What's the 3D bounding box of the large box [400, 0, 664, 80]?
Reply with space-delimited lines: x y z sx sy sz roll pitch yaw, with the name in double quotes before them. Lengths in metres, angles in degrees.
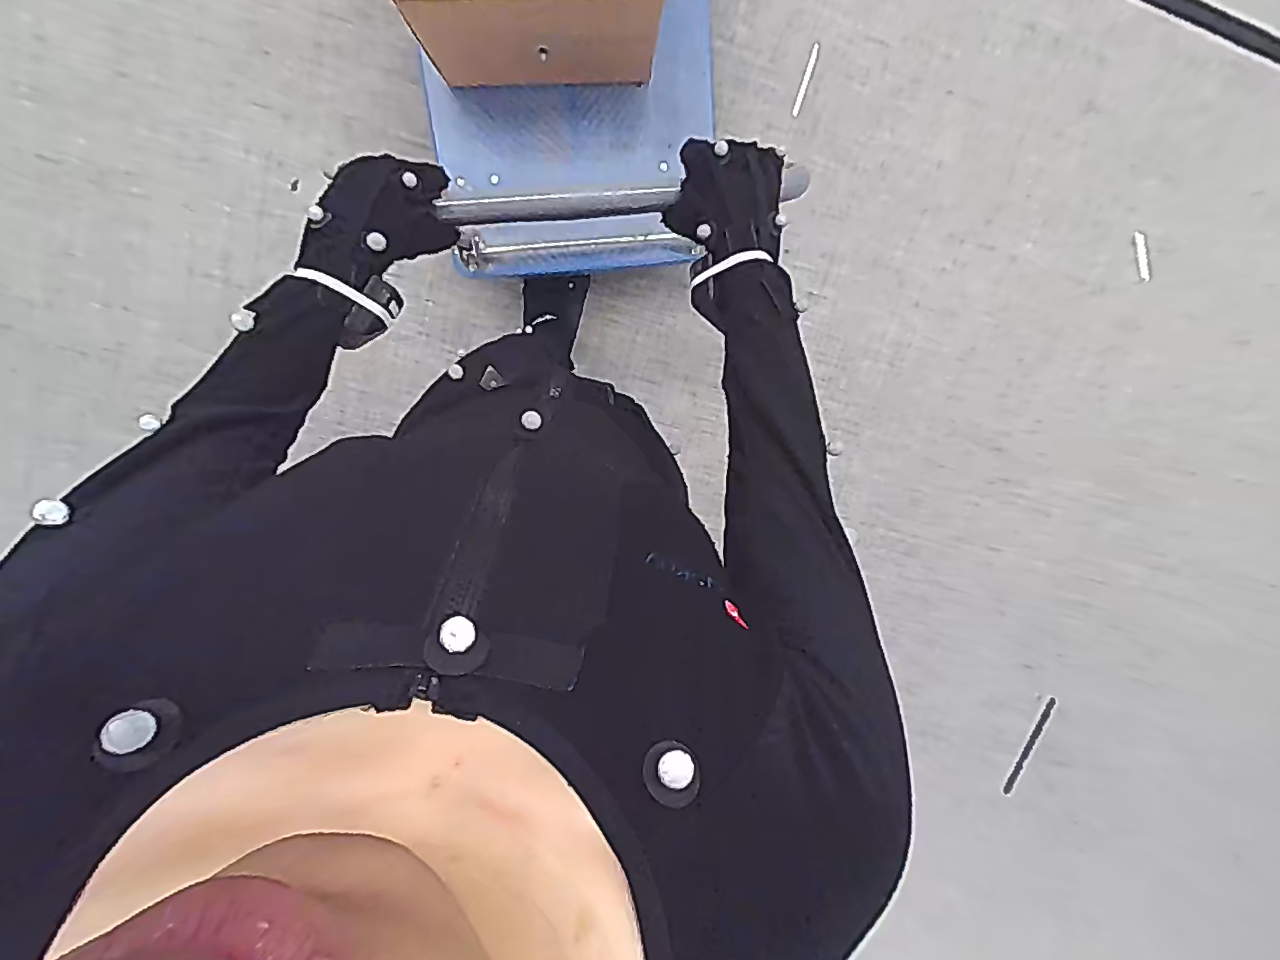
"large box" -0.174 -0.906 0.892 0.408 0.320 0.320 -3 106 -2
